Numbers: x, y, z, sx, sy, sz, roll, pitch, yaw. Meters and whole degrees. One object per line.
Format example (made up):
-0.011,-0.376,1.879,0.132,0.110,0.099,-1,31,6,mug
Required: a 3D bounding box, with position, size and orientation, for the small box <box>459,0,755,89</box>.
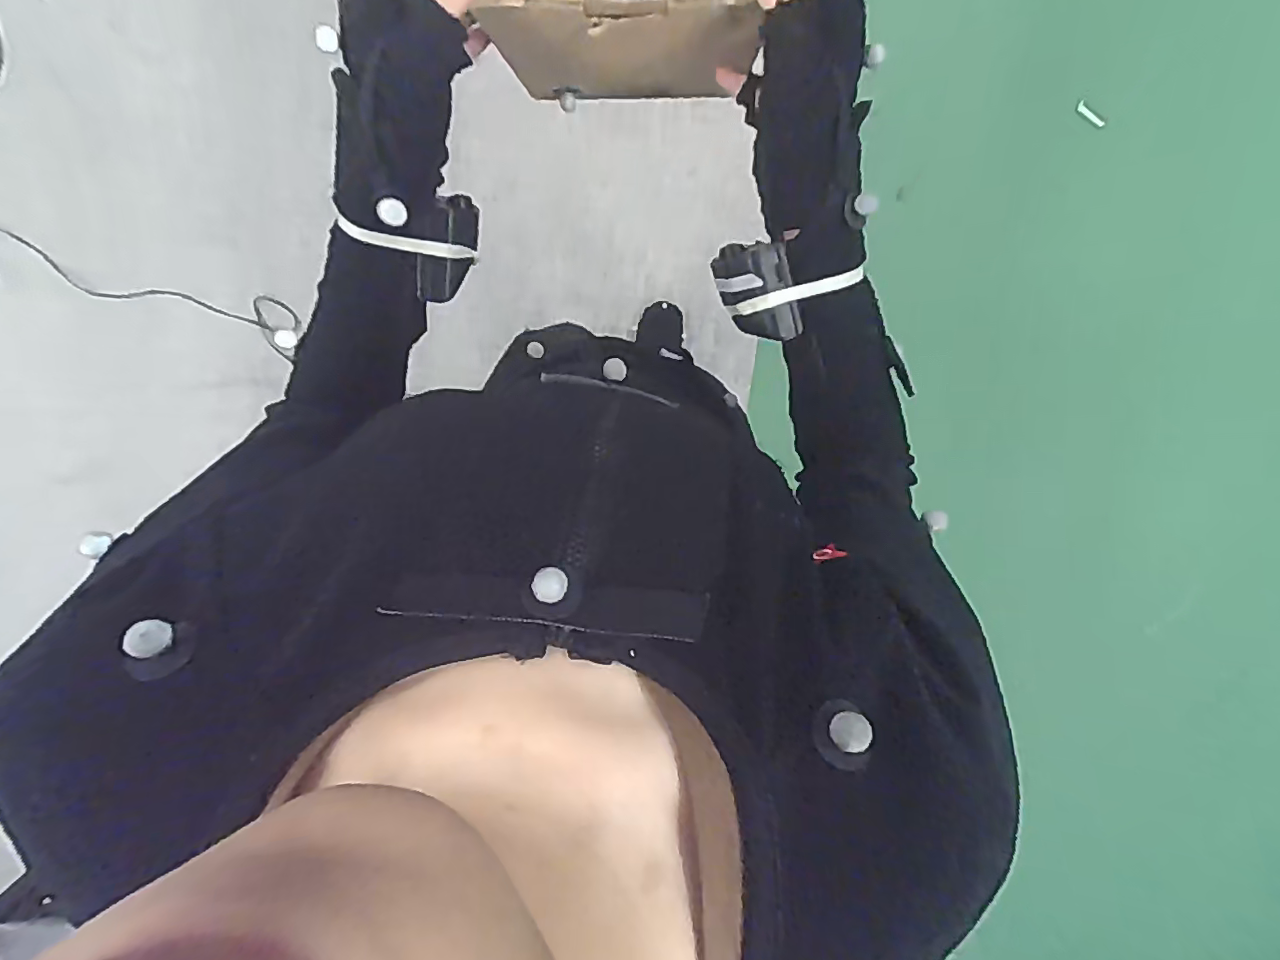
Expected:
-0.012,-0.356,0.321,0.168,0.176,0.179,0,110,1,small box
